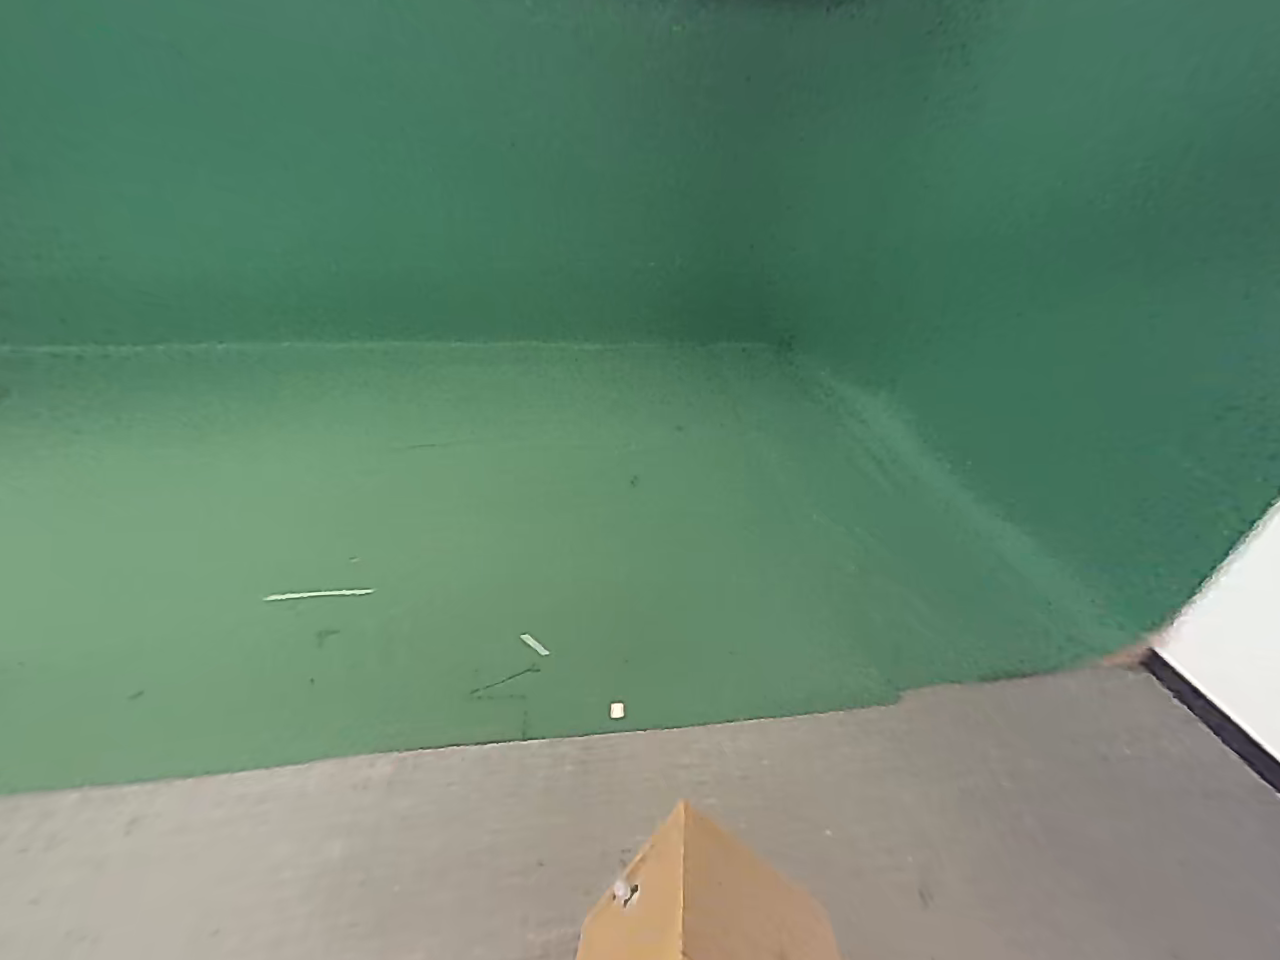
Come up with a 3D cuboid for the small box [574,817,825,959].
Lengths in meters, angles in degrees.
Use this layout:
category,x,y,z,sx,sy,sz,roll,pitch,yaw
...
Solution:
category,x,y,z,sx,sy,sz,roll,pitch,yaw
small box,0.050,0.434,0.449,0.179,0.168,0.176,36,4,2
